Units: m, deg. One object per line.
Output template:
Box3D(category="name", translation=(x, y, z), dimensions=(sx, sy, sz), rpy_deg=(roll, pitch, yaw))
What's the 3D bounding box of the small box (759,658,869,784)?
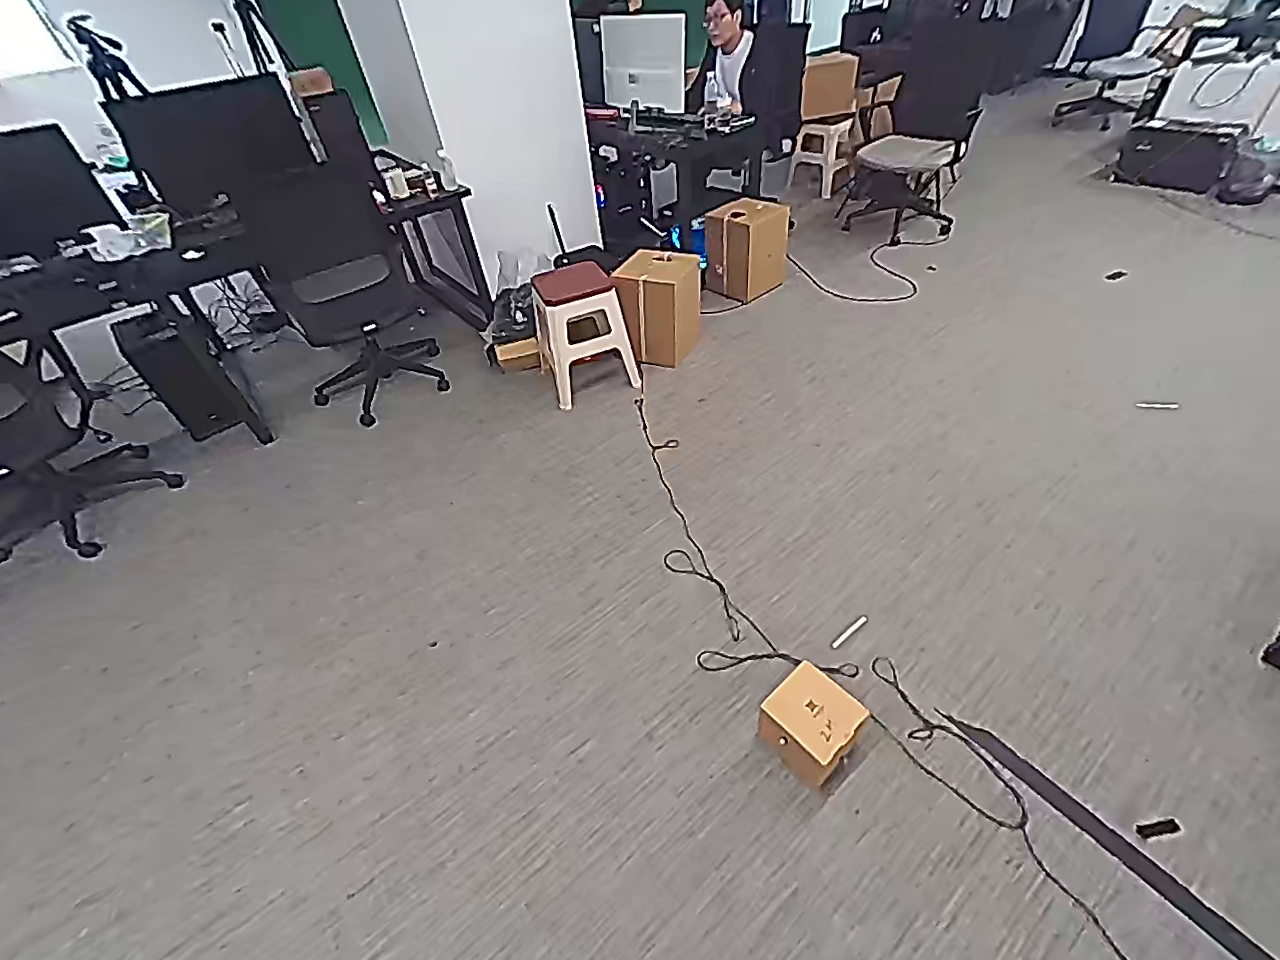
Box3D(category="small box", translation=(0.389, 0.554, 1.241), dimensions=(0.168, 0.176, 0.179), rpy_deg=(-34, 50, -24))
